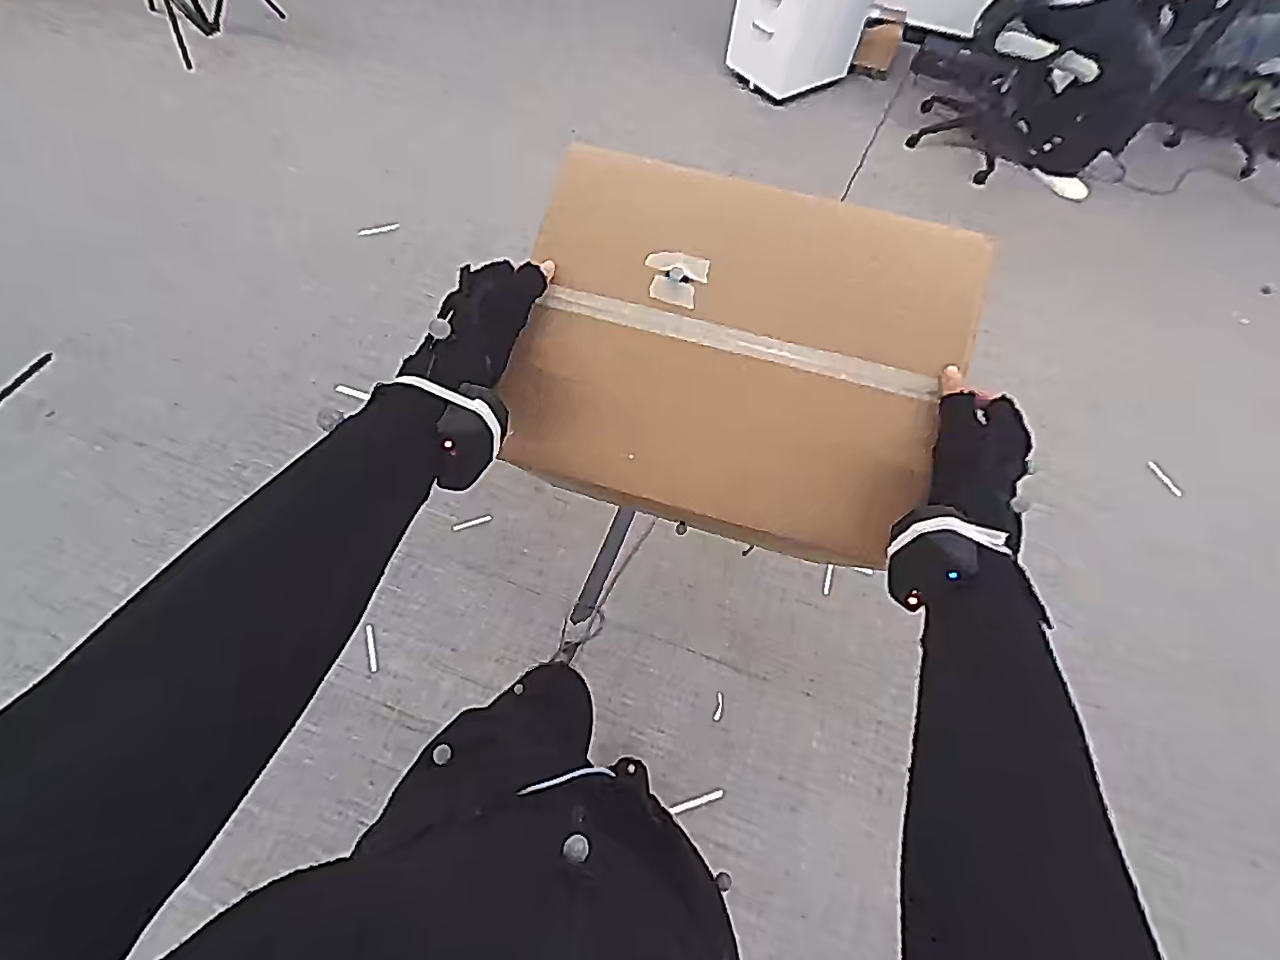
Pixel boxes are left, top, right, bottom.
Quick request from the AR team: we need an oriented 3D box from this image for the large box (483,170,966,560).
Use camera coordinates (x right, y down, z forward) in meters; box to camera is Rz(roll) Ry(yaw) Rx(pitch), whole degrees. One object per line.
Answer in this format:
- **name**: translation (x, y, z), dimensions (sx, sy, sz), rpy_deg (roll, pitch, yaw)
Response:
- **large box**: translation (0.091, -0.103, 0.659), dimensions (0.408, 0.320, 0.320), rpy_deg (16, 83, 6)
